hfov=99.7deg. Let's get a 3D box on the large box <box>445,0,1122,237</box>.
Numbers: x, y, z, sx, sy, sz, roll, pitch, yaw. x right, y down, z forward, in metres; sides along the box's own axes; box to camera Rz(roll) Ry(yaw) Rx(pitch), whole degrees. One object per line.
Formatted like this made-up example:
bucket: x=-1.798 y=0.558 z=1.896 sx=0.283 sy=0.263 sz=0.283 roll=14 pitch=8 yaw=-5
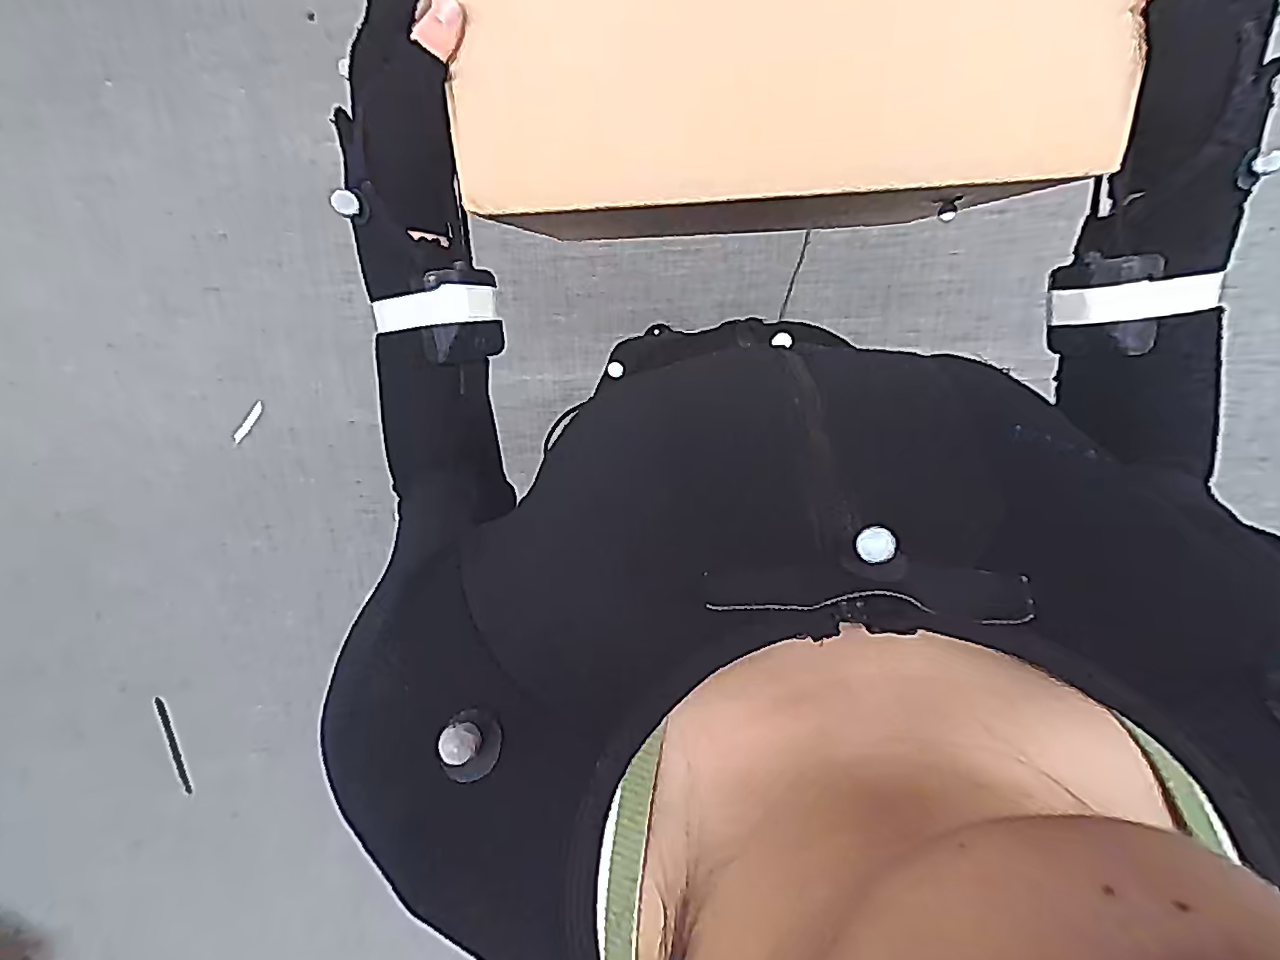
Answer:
large box: x=0.087 y=-0.383 z=0.440 sx=0.408 sy=0.320 sz=0.320 roll=-1 pitch=110 yaw=5
